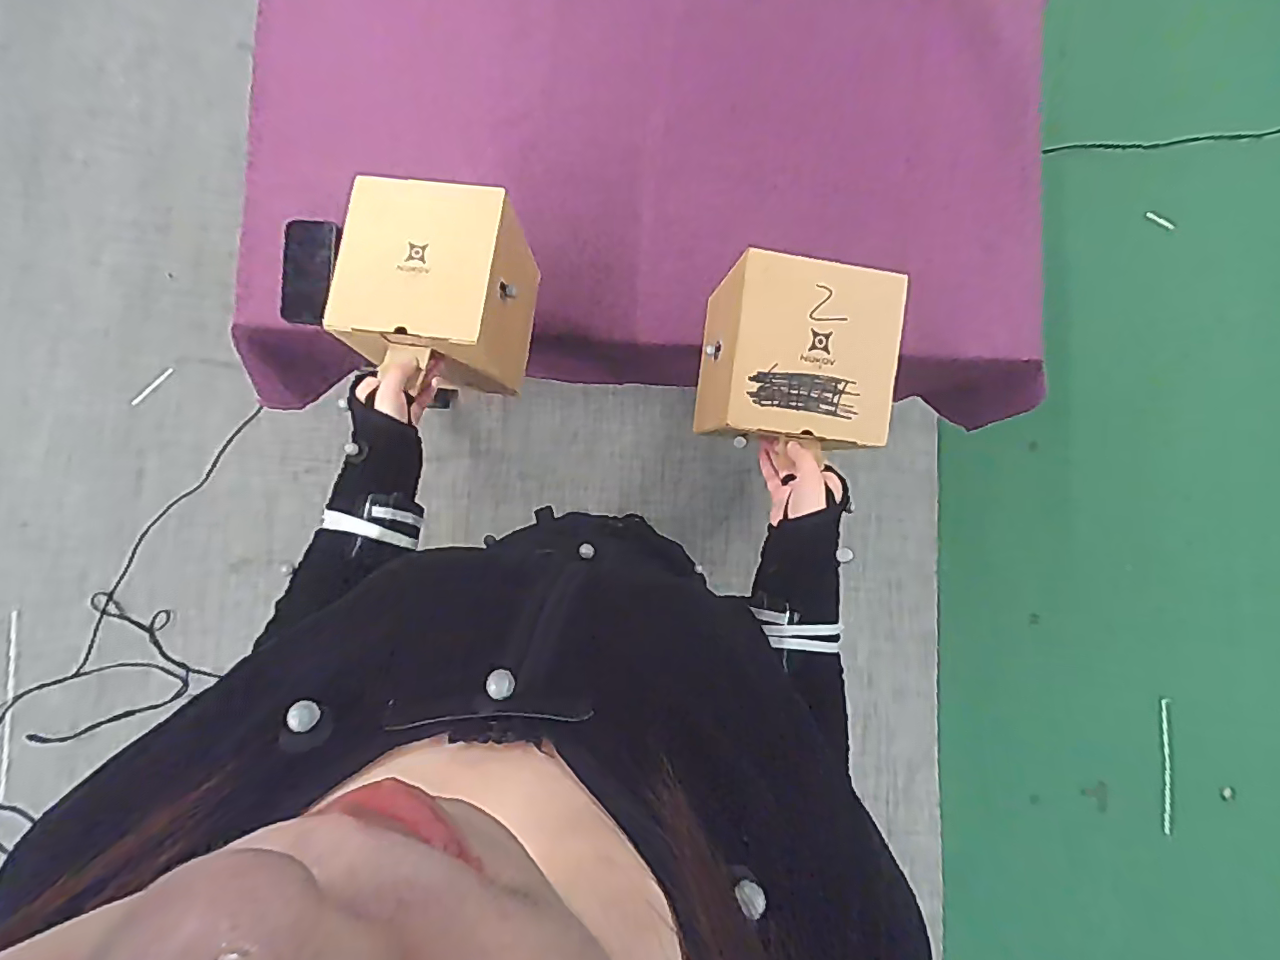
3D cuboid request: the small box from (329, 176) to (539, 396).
[{"bbox_3d":[-0.224,-0.216,0.639,0.168,0.176,0.179,8,82,2],"label":"small box"}]
